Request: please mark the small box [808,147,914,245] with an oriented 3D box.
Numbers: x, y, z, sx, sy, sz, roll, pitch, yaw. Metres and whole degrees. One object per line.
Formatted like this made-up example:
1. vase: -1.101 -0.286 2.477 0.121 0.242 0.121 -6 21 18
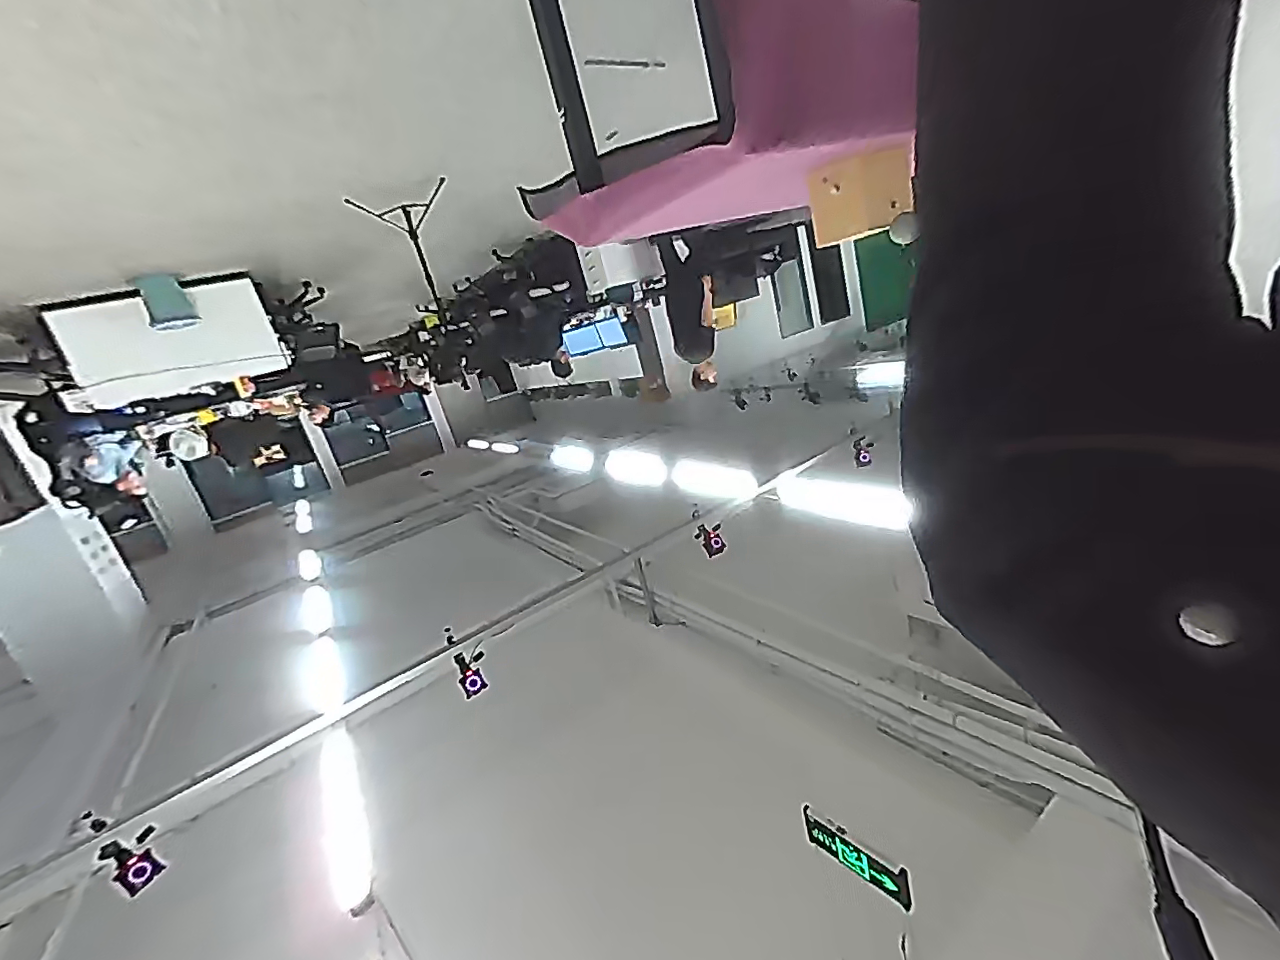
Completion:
1. small box: 0.544 -0.701 1.337 0.179 0.176 0.168 -23 -163 -25
